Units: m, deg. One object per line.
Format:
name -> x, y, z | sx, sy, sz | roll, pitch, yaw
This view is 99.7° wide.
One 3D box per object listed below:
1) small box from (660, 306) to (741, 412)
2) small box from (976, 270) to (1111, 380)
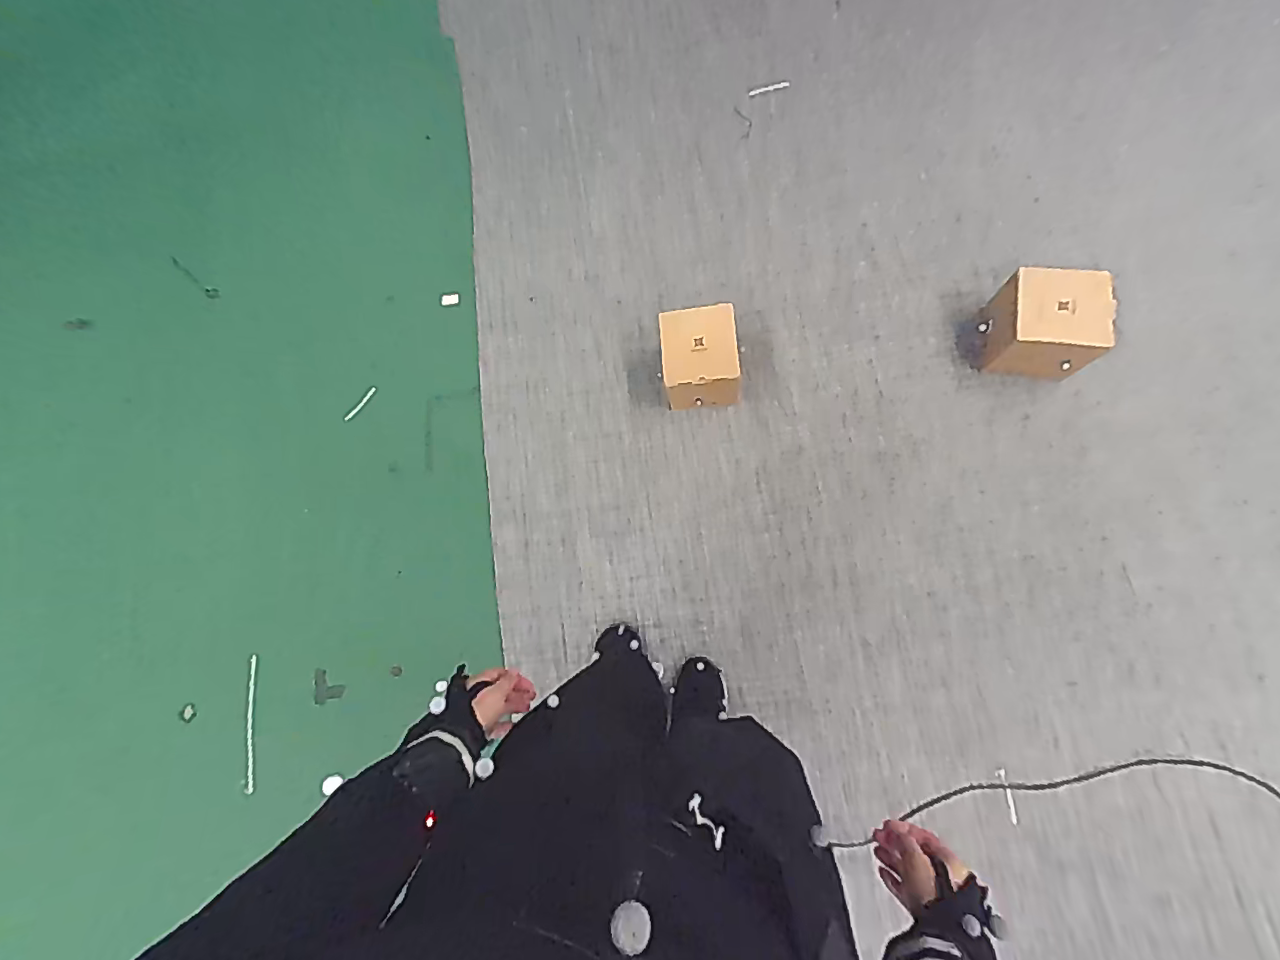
small box -> 0.139, -0.273, 1.250 | 0.168, 0.176, 0.179 | -6, 78, 7
small box -> 0.851, -0.323, 1.154 | 0.179, 0.176, 0.168 | 7, 78, 11
